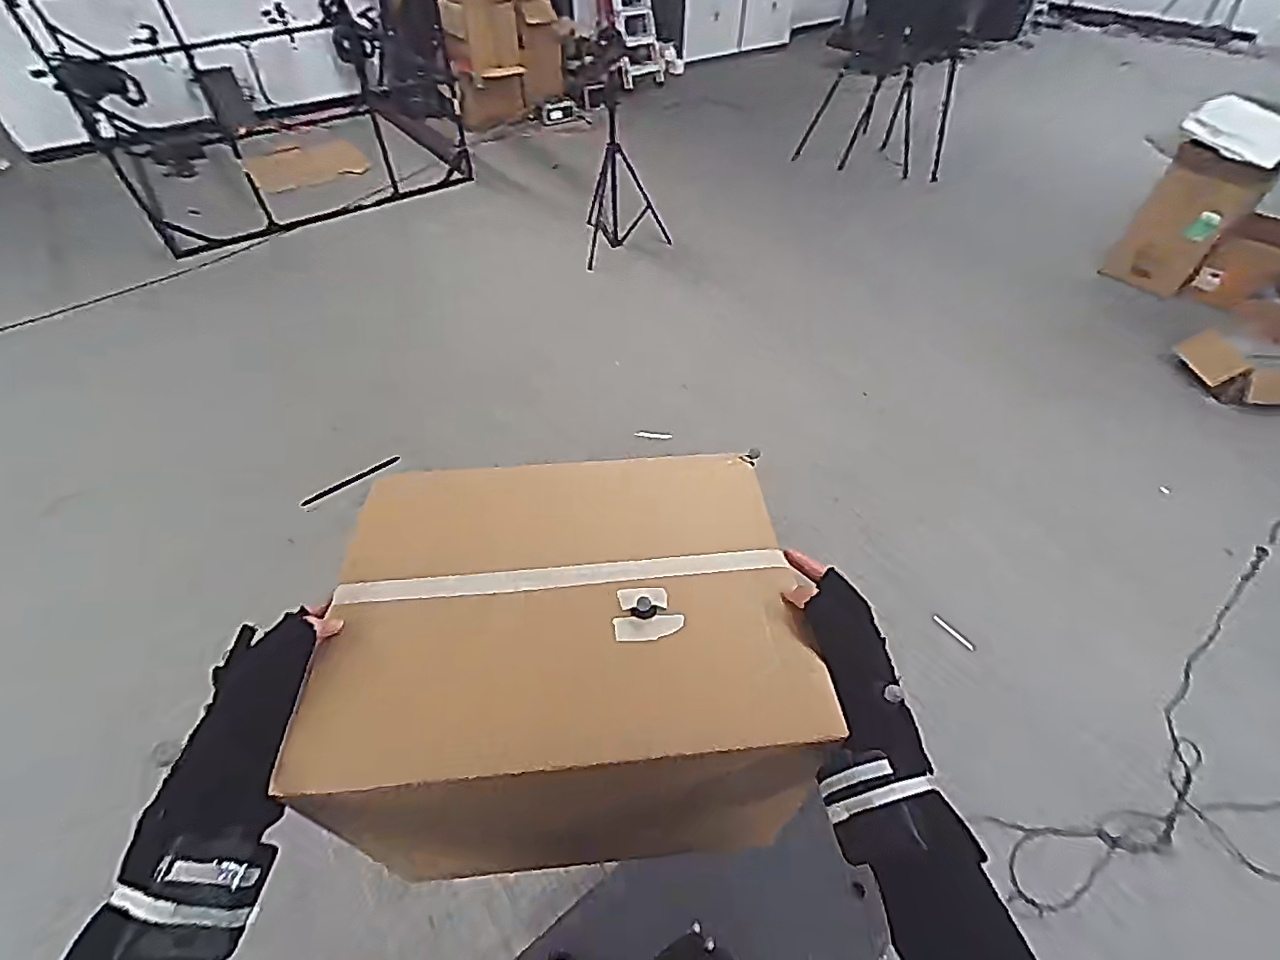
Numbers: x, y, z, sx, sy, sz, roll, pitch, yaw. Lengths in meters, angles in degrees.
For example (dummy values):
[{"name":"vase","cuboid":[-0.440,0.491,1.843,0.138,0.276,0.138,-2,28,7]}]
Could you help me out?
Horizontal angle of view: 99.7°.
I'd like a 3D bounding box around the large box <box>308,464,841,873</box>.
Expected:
[{"name":"large box","cuboid":[-0.057,0.204,0.606,0.408,0.320,0.320,-3,45,-4]}]
